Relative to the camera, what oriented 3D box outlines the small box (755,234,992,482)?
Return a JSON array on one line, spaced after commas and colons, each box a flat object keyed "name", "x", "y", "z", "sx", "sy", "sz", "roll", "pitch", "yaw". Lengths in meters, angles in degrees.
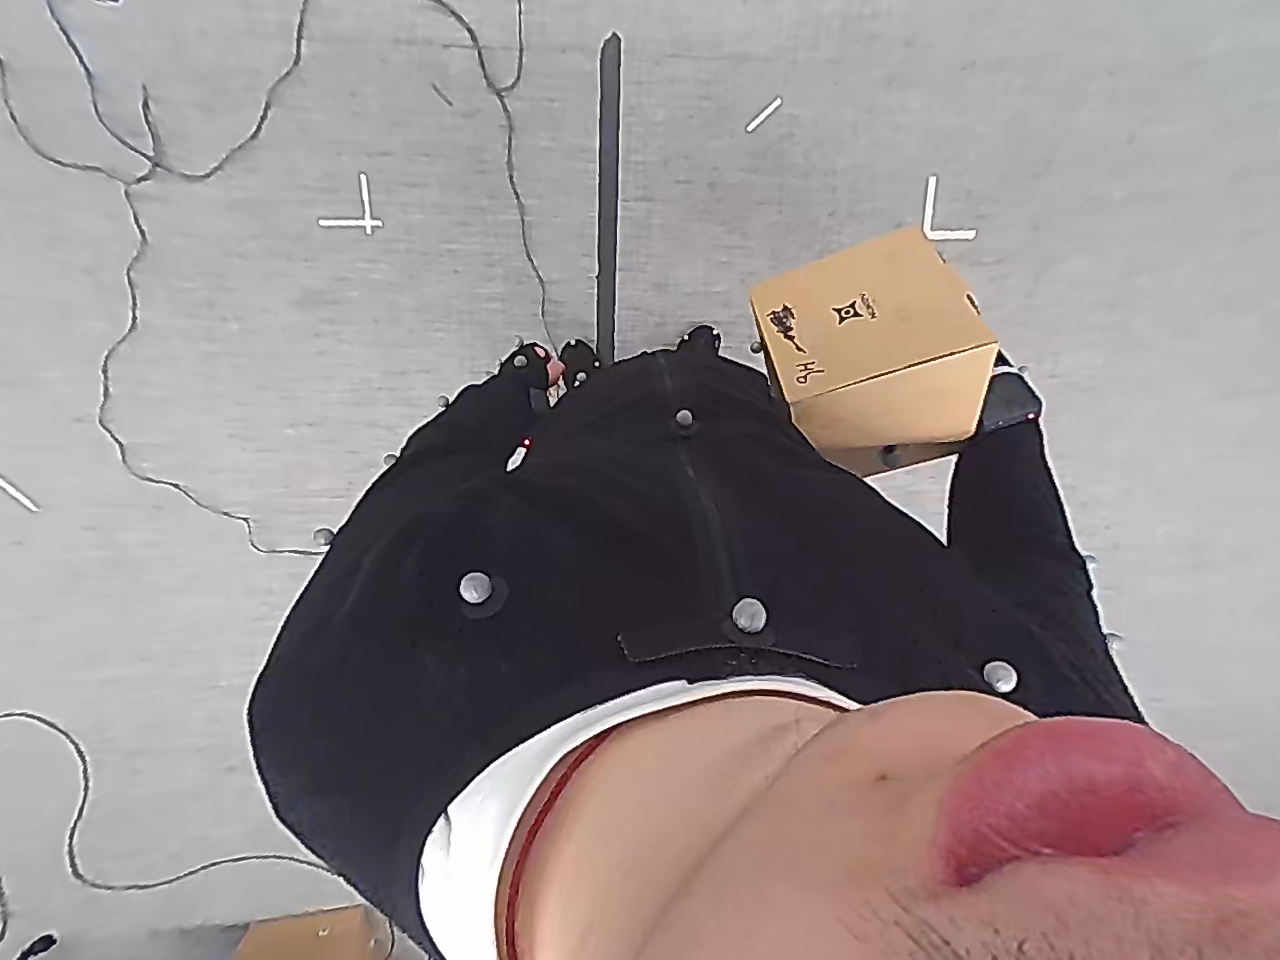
[{"name": "small box", "x": 0.238, "y": -0.121, "z": 0.587, "sx": 0.179, "sy": 0.168, "sz": 0.176, "roll": -16, "pitch": 144, "yaw": 13}]
